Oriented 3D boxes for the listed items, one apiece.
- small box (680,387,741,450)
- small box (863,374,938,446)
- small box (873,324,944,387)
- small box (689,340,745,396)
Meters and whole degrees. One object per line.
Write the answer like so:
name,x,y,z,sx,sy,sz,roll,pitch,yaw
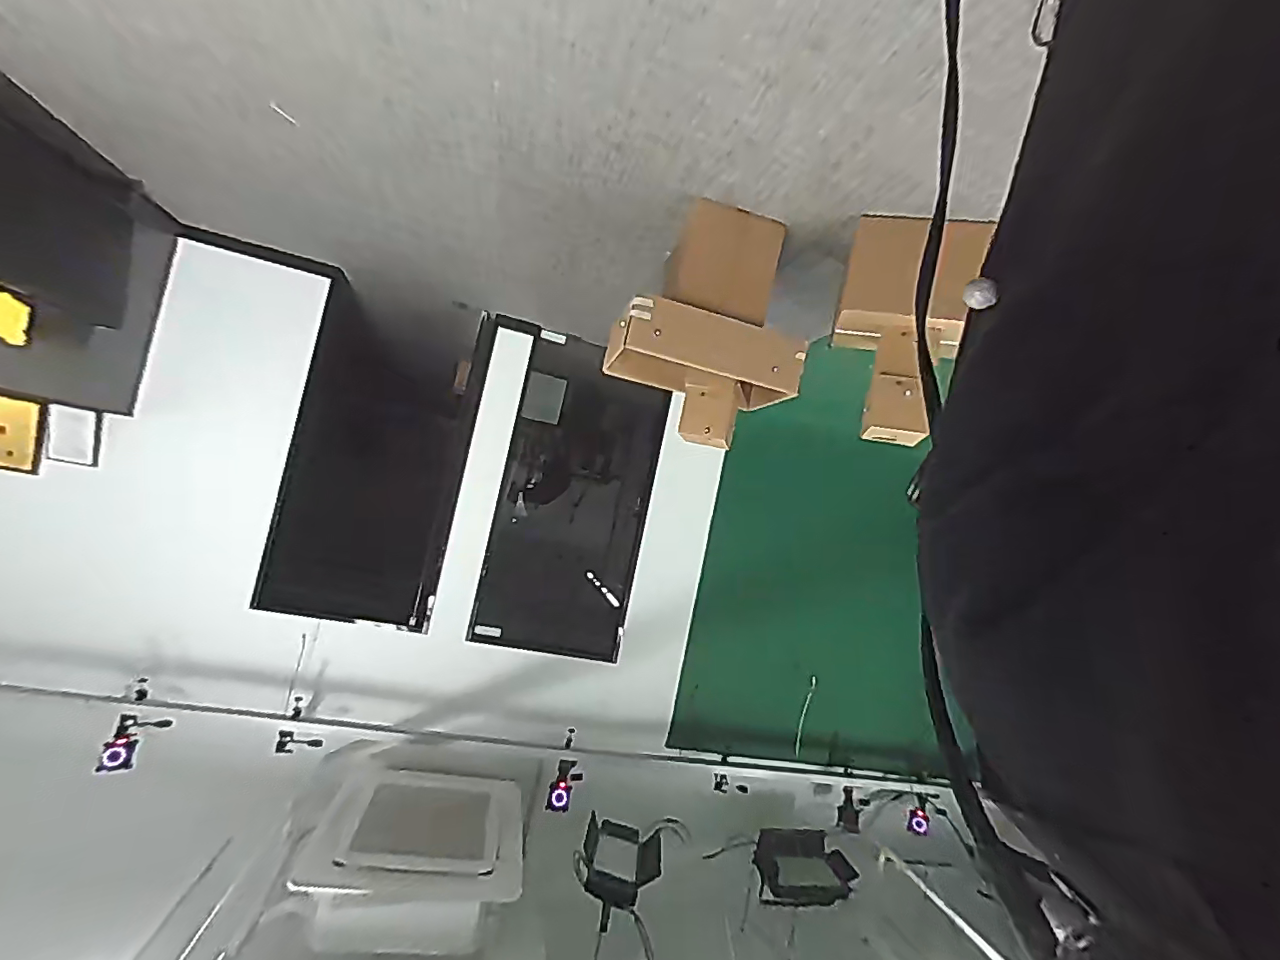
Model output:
small box,0.251,-0.214,1.890,0.168,0.176,0.179,11,176,16
small box,0.811,-0.217,1.688,0.168,0.176,0.179,10,175,14
small box,0.847,-0.375,1.711,0.168,0.176,0.179,10,175,19
small box,0.271,-0.378,1.896,0.168,0.176,0.179,12,176,11
